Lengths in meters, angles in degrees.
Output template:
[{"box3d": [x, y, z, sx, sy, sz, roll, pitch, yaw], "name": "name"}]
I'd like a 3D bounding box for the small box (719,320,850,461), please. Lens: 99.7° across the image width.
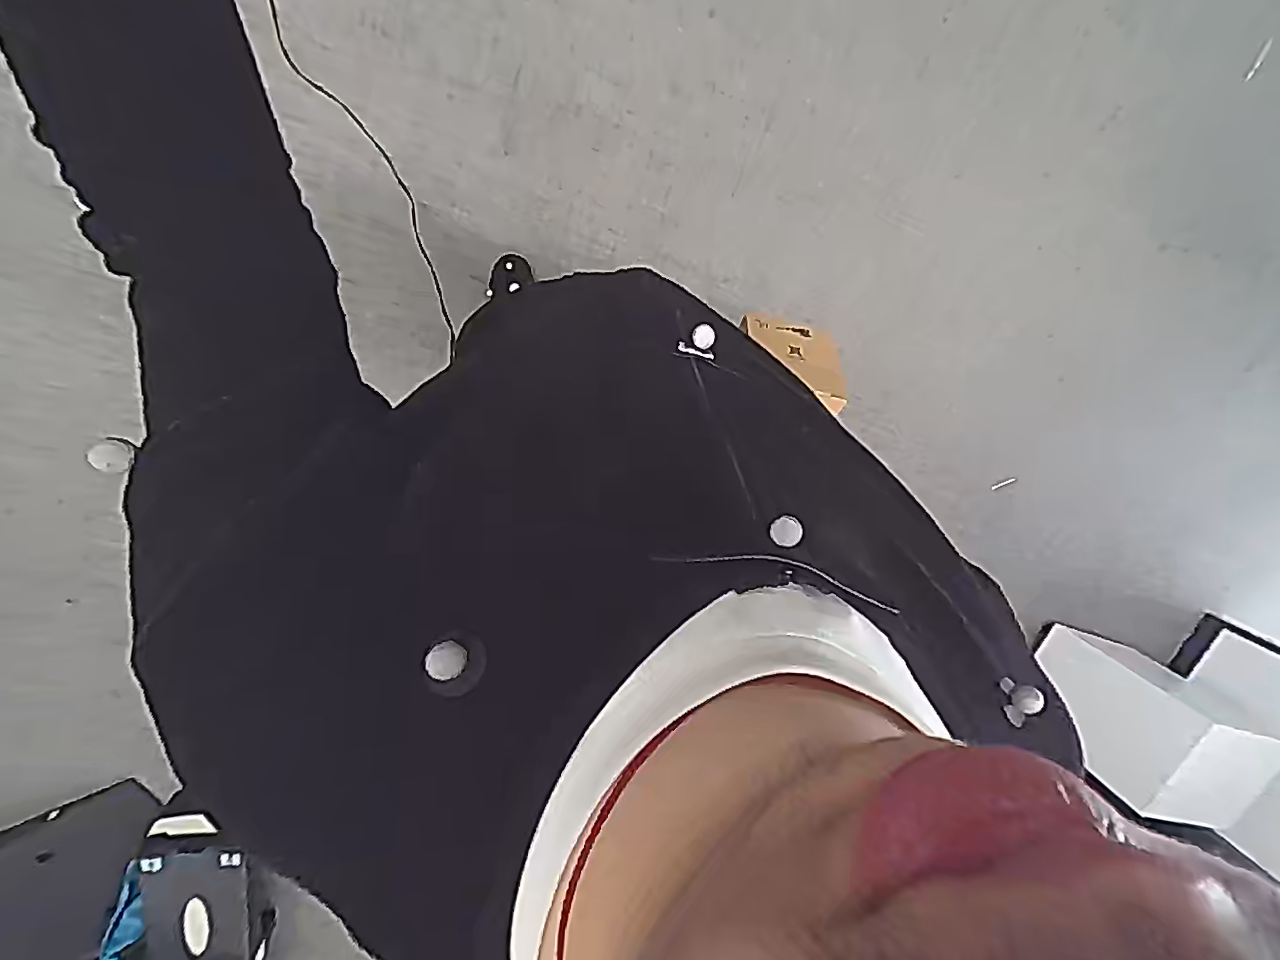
[{"box3d": [0.247, -0.154, 0.968, 0.168, 0.179, 0.176, 8, 142, -8], "name": "small box"}]
